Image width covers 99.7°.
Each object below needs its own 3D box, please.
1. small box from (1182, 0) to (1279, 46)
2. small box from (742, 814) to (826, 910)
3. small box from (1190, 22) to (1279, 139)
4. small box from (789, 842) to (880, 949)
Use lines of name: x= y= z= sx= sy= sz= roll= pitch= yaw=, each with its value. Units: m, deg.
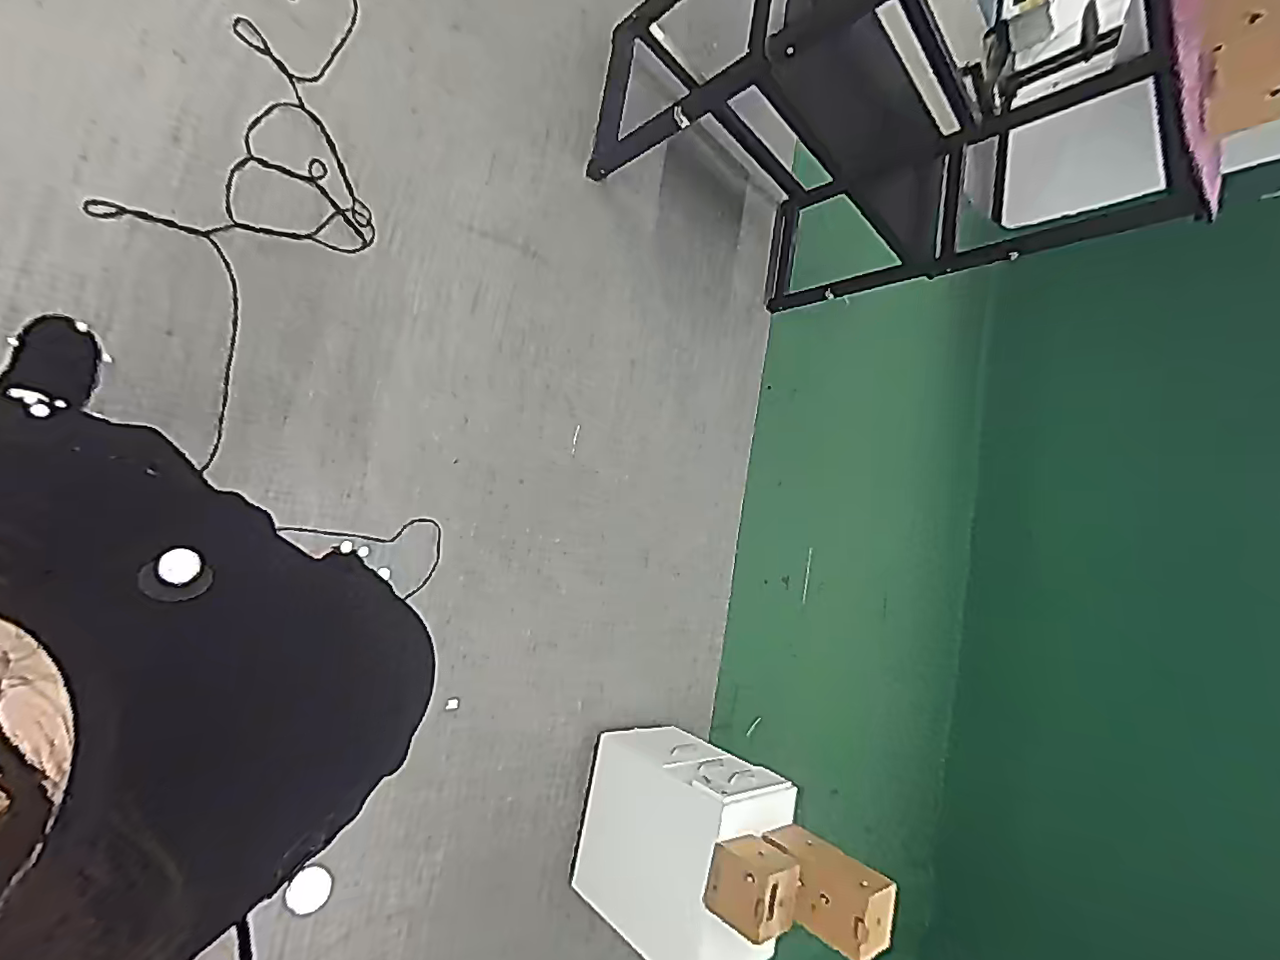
small box: x=1.227 y=-1.037 z=1.095 sx=0.179 sy=0.176 sz=0.168 roll=14 pitch=82 yaw=-42
small box: x=0.441 y=1.155 z=1.654 sx=0.179 sy=0.176 sz=0.168 roll=18 pitch=80 yaw=-42
small box: x=1.480 y=-0.991 z=1.331 sx=0.179 sy=0.176 sz=0.168 roll=18 pitch=78 yaw=-42
small box: x=0.551 y=1.163 z=1.533 sx=0.179 sy=0.176 sz=0.168 roll=19 pitch=79 yaw=-40
